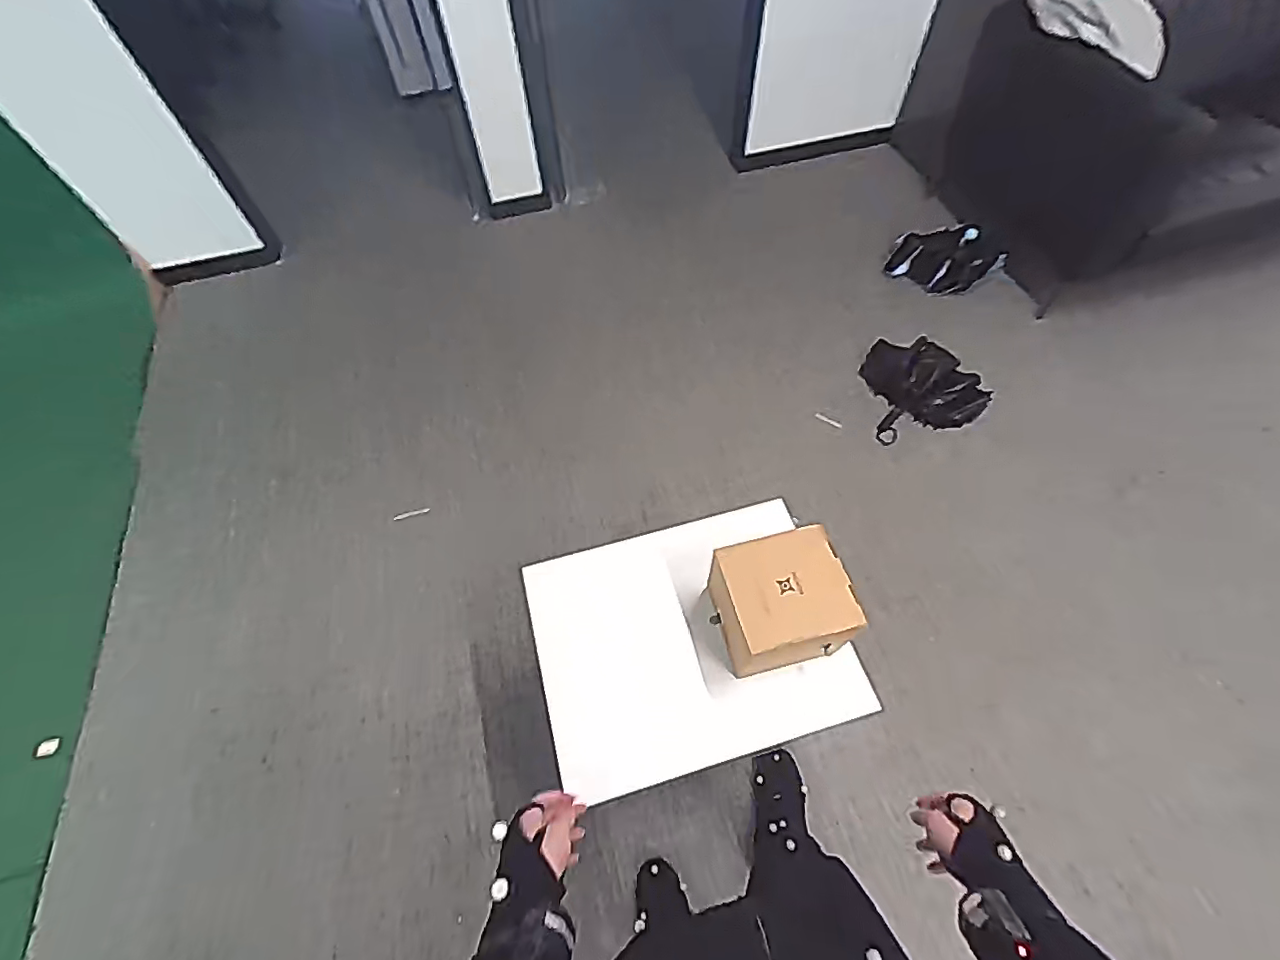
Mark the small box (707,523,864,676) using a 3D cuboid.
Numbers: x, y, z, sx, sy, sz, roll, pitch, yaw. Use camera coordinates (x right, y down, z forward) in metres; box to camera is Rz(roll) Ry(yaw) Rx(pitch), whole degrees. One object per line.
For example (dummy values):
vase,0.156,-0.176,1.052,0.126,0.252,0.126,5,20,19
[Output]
small box,0.213,0.192,0.849,0.179,0.176,0.168,-14,59,-5
